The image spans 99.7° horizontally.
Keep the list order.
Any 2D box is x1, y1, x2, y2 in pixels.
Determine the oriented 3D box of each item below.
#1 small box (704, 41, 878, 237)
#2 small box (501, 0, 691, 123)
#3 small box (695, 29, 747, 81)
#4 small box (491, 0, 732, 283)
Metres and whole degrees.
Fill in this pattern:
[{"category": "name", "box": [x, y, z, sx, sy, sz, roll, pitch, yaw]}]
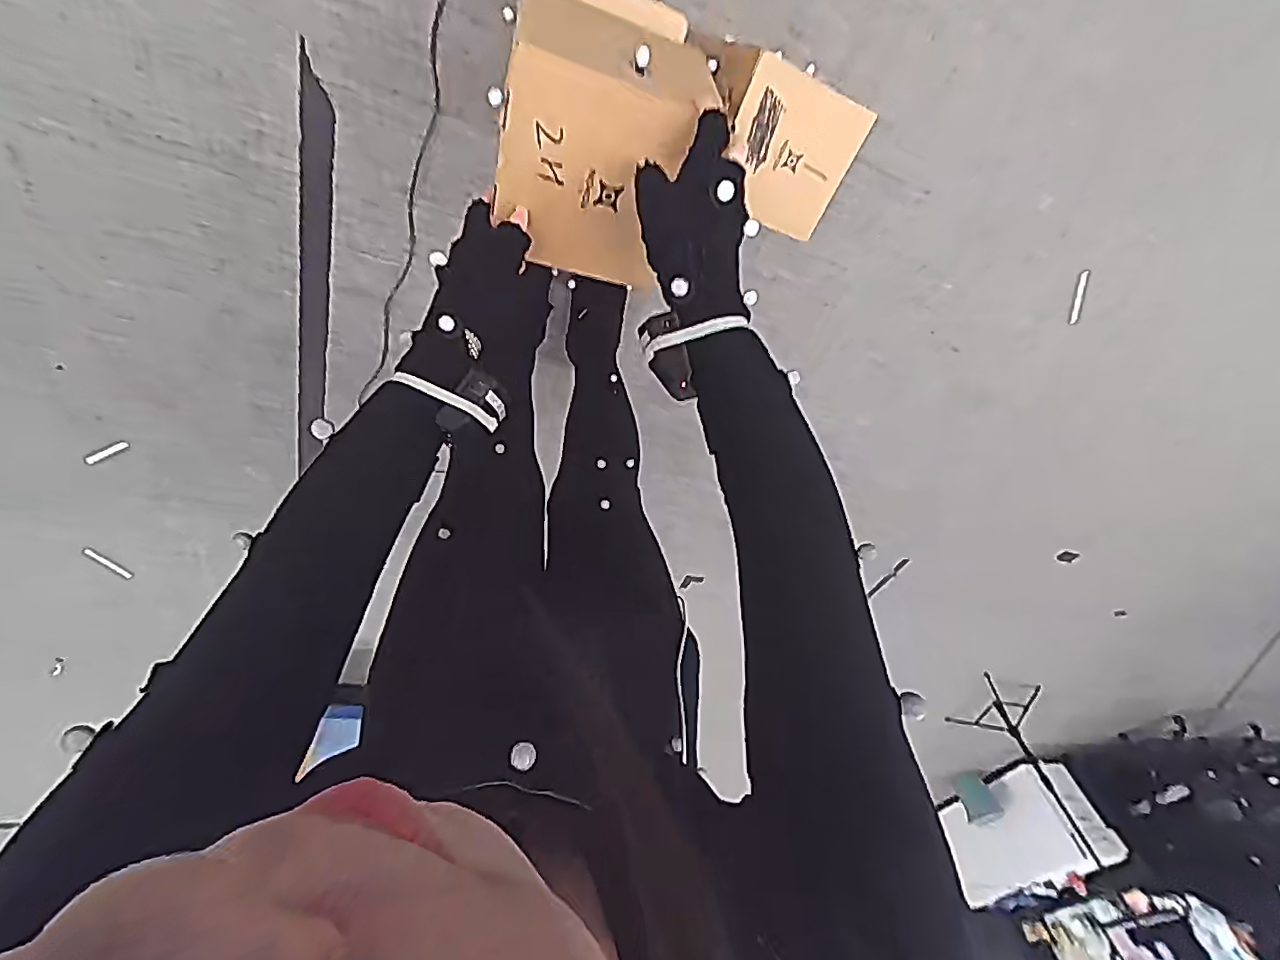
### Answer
[{"category": "small box", "box": [0.173, -0.467, 0.740, 0.179, 0.176, 0.168, 11, 129, -23]}, {"category": "small box", "box": [-0.063, -0.505, 0.656, 0.179, 0.176, 0.168, 10, 128, -20]}, {"category": "small box", "box": [0.149, -0.579, 0.859, 0.179, 0.176, 0.168, 12, 128, -22]}, {"category": "small box", "box": [-0.038, -0.324, 0.515, 0.179, 0.176, 0.168, 8, 143, -18]}]
